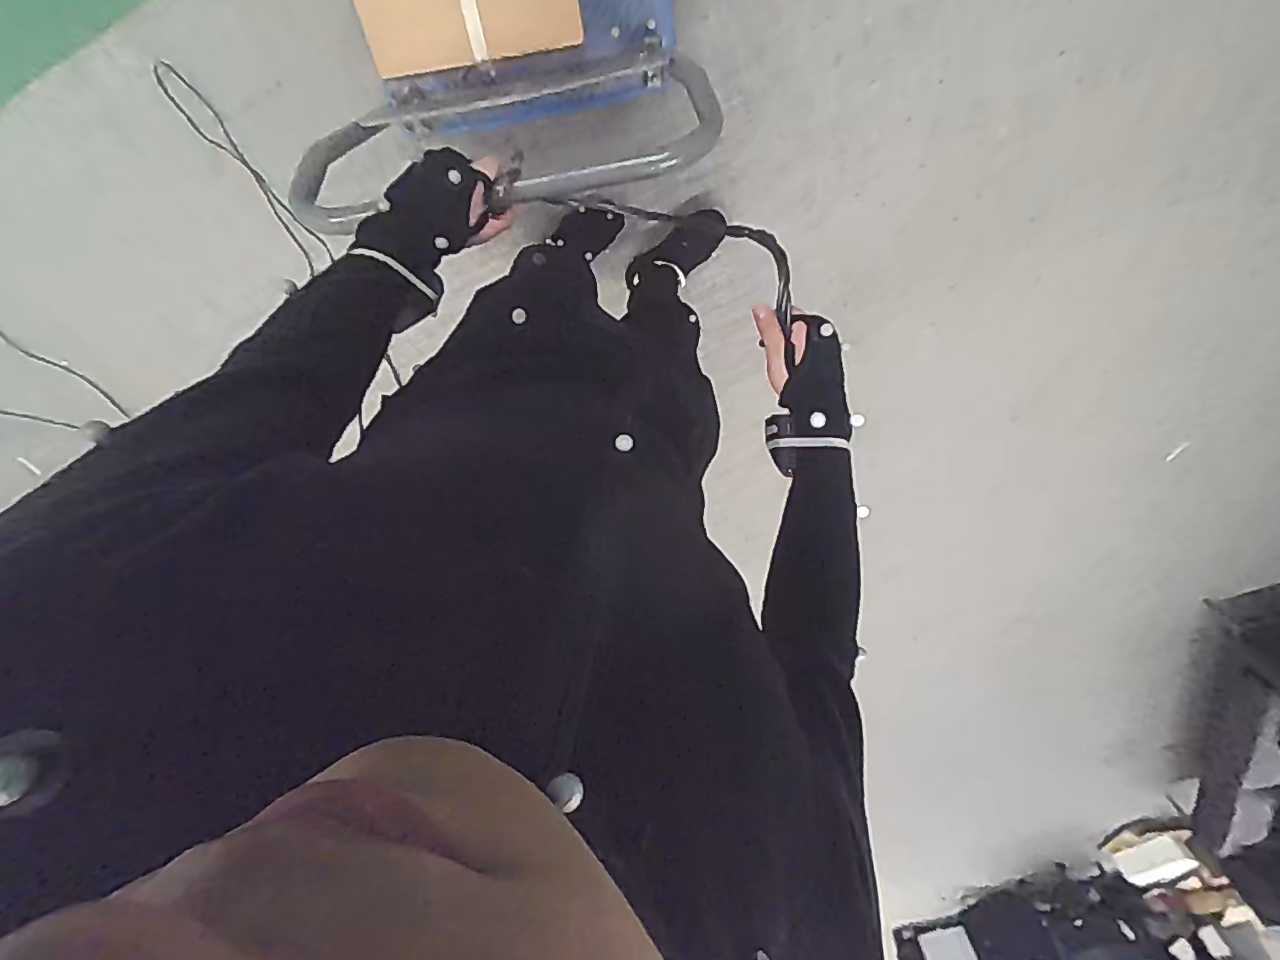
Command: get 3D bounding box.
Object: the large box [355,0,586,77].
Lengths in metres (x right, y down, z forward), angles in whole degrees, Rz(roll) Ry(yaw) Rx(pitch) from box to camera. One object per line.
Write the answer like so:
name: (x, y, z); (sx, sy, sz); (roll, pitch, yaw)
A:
large box: (-0.273, -0.872, 0.801); (0.320, 0.320, 0.408); (-9, 127, 1)
